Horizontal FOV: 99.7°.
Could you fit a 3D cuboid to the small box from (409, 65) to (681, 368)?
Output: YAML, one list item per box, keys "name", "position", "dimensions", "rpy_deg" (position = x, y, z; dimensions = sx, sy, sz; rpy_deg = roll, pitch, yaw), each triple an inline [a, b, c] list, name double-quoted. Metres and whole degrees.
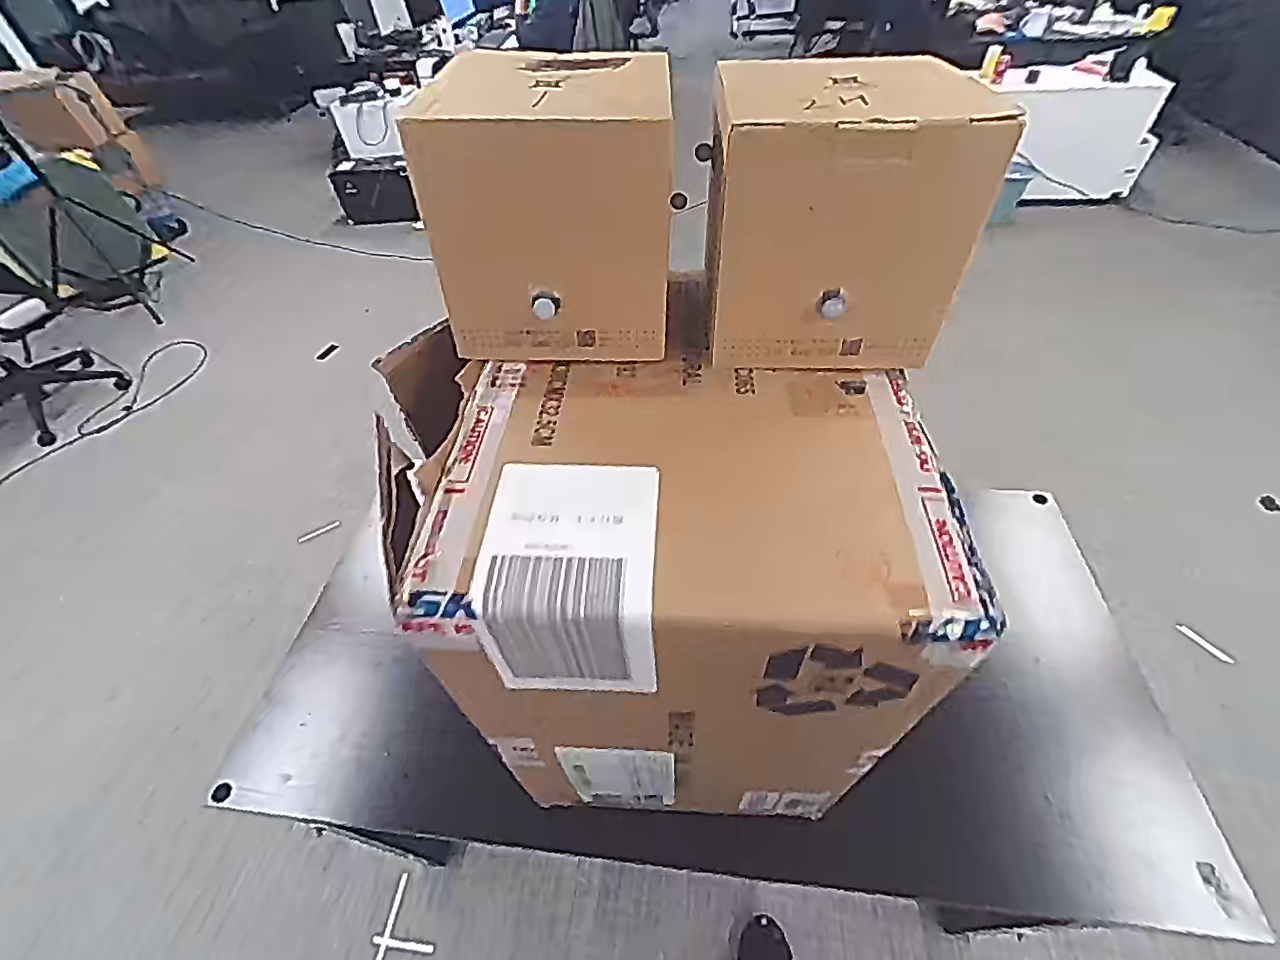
- name: "small box"
  position: [-0.056, -0.211, 0.433]
  dimensions: [0.168, 0.176, 0.179]
  rpy_deg: [1, 47, 1]

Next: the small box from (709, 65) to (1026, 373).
- name: "small box"
  position: [0.142, -0.203, 0.422]
  dimensions: [0.168, 0.176, 0.179]
  rpy_deg: [1, 47, 4]
